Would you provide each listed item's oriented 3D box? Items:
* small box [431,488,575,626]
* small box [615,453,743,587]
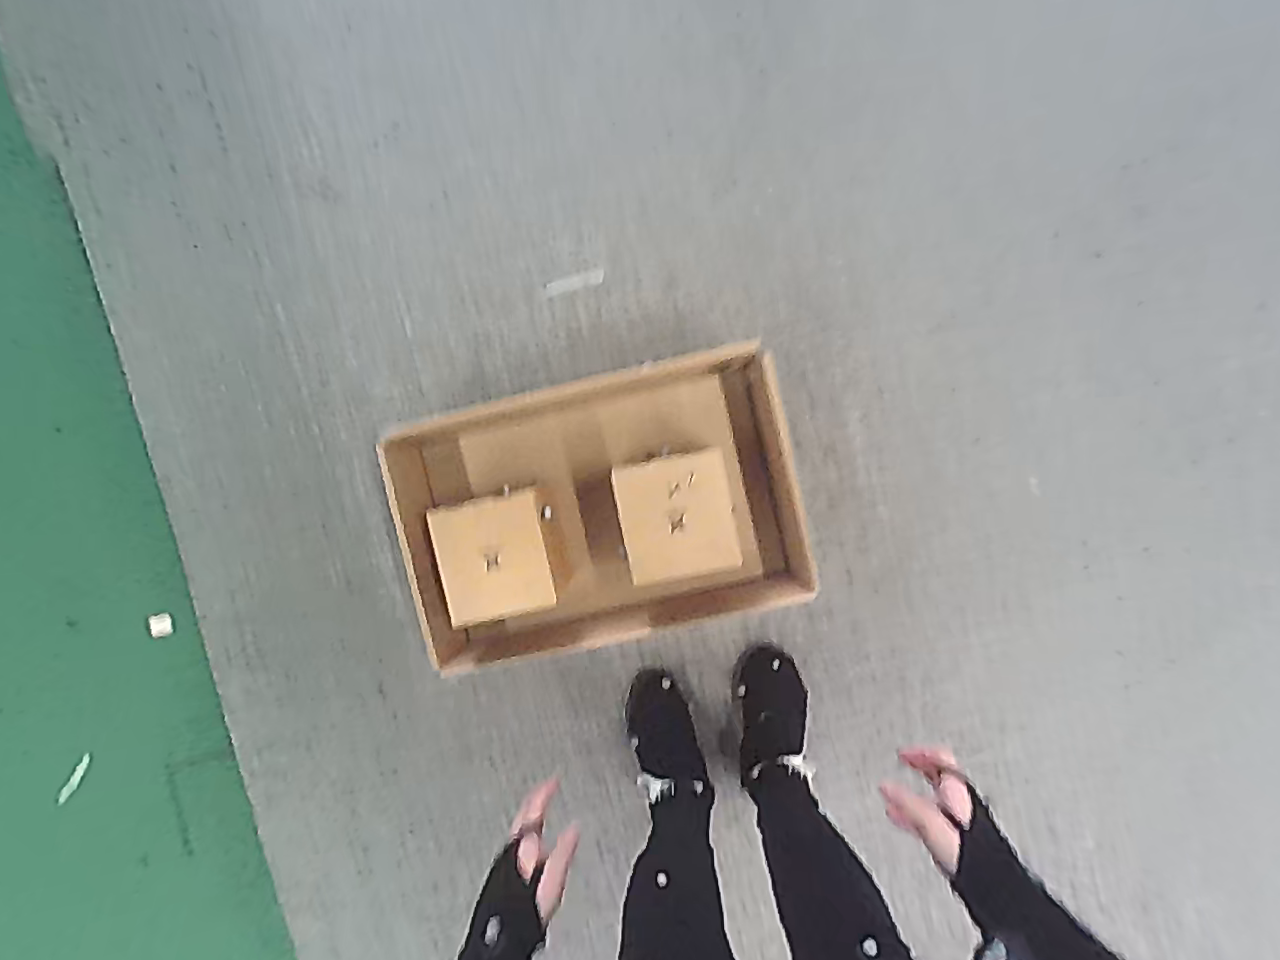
[{"bbox_3d":[-0.213,0.118,0.887,0.168,0.176,0.179,-13,91,3],"label":"small box"},{"bbox_3d":[0.063,0.056,0.871,0.168,0.176,0.179,-11,92,3],"label":"small box"}]
